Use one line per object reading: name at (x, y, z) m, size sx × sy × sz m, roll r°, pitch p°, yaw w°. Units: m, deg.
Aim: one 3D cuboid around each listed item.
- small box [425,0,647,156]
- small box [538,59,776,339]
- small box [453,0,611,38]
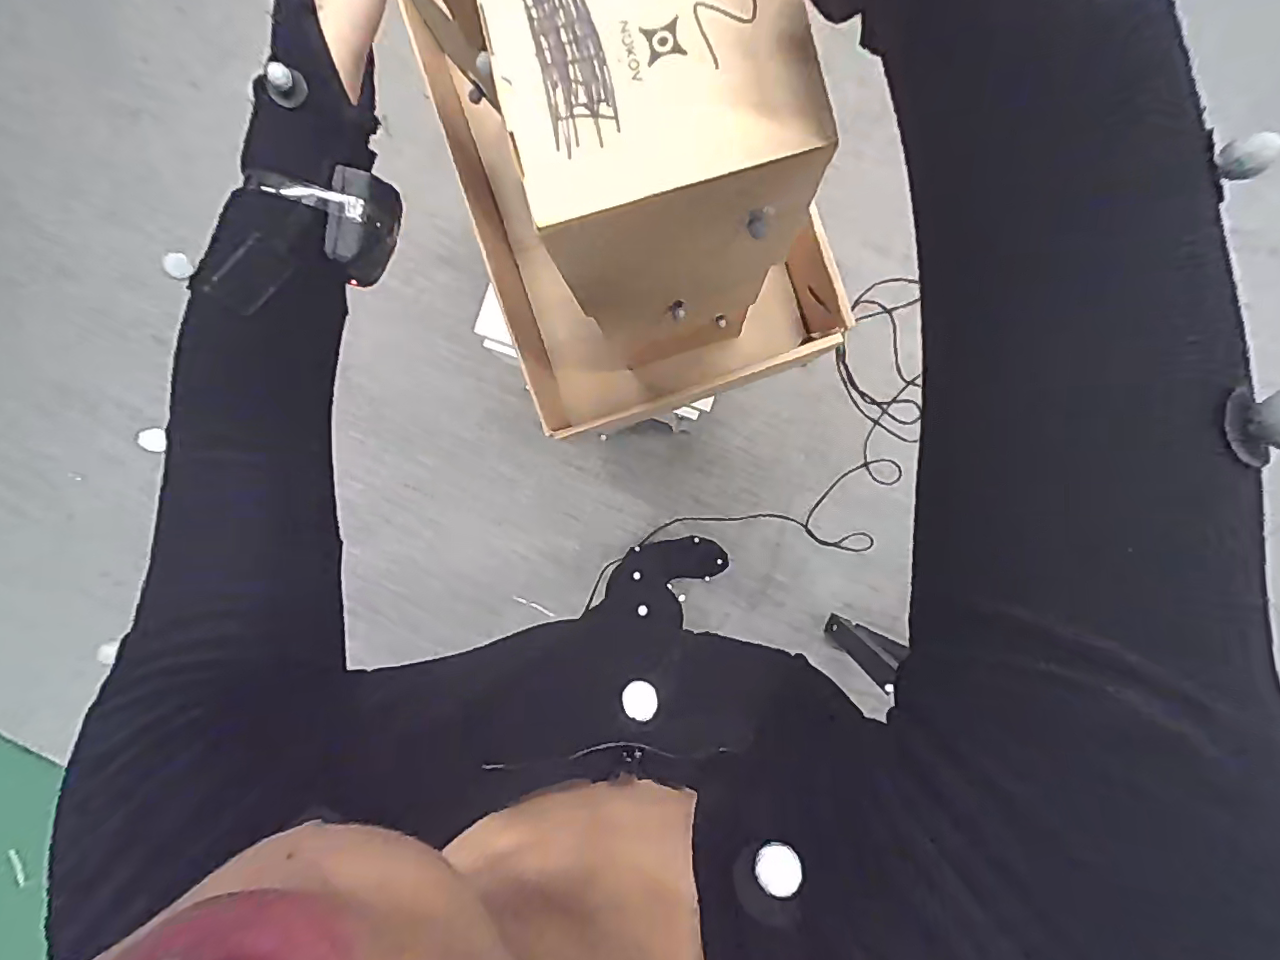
small box at (-0.105, -0.487, 0.554) m, size 0.179 × 0.176 × 0.168 m, roll -44°, pitch 89°, yaw 7°
small box at (0.020, -0.262, 0.550) m, size 0.179 × 0.176 × 0.168 m, roll -17°, pitch 89°, yaw 6°
small box at (-0.087, -0.478, 0.388) m, size 0.179 × 0.176 × 0.168 m, roll -13°, pitch 92°, yaw 5°
